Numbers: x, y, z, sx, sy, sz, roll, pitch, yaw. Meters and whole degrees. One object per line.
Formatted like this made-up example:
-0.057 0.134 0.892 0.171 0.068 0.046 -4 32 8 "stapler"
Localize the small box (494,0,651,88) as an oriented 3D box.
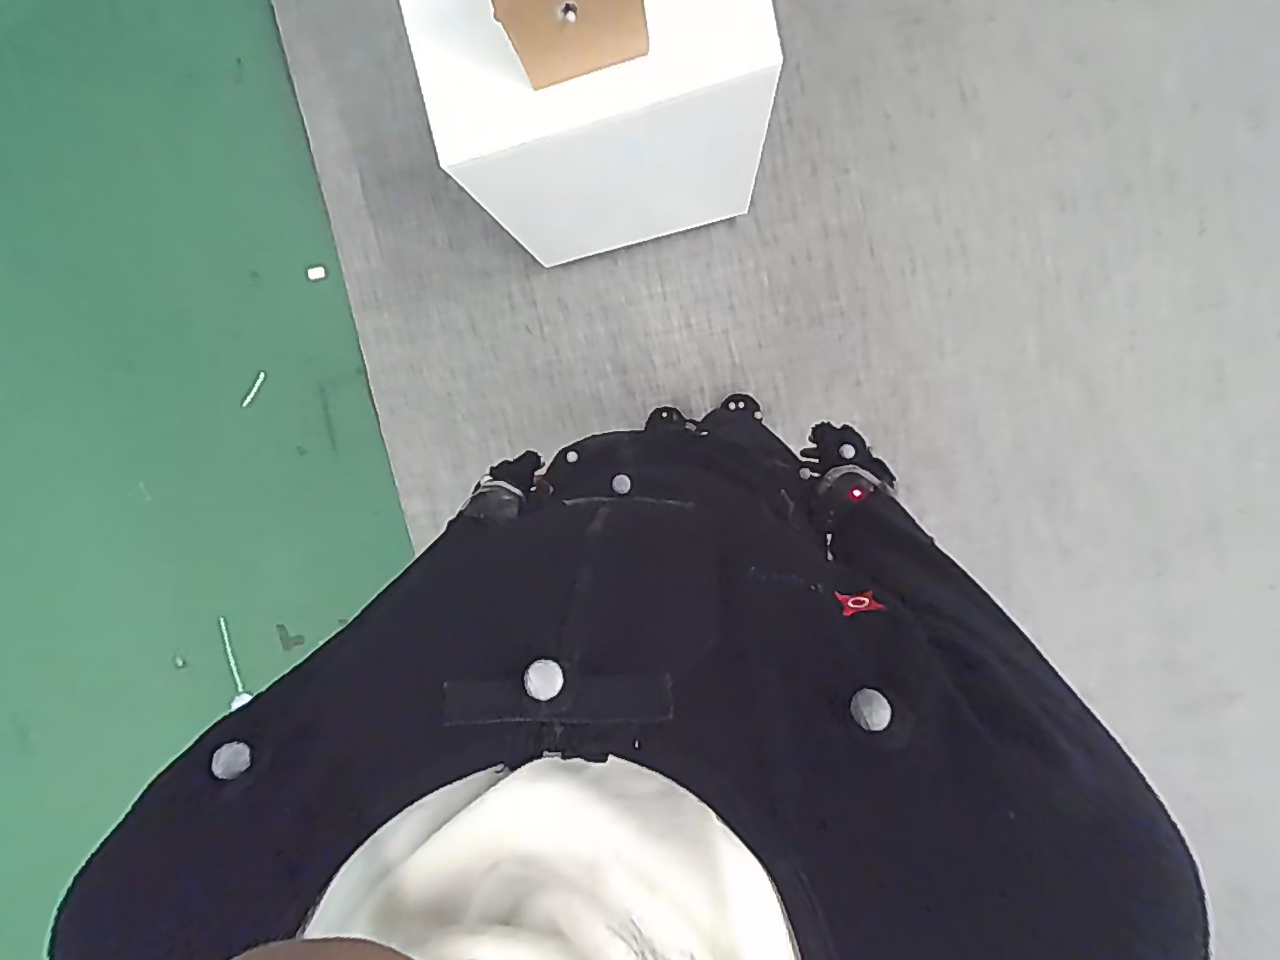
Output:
-0.091 -0.646 0.687 0.179 0.176 0.168 -12 95 7 "small box"
